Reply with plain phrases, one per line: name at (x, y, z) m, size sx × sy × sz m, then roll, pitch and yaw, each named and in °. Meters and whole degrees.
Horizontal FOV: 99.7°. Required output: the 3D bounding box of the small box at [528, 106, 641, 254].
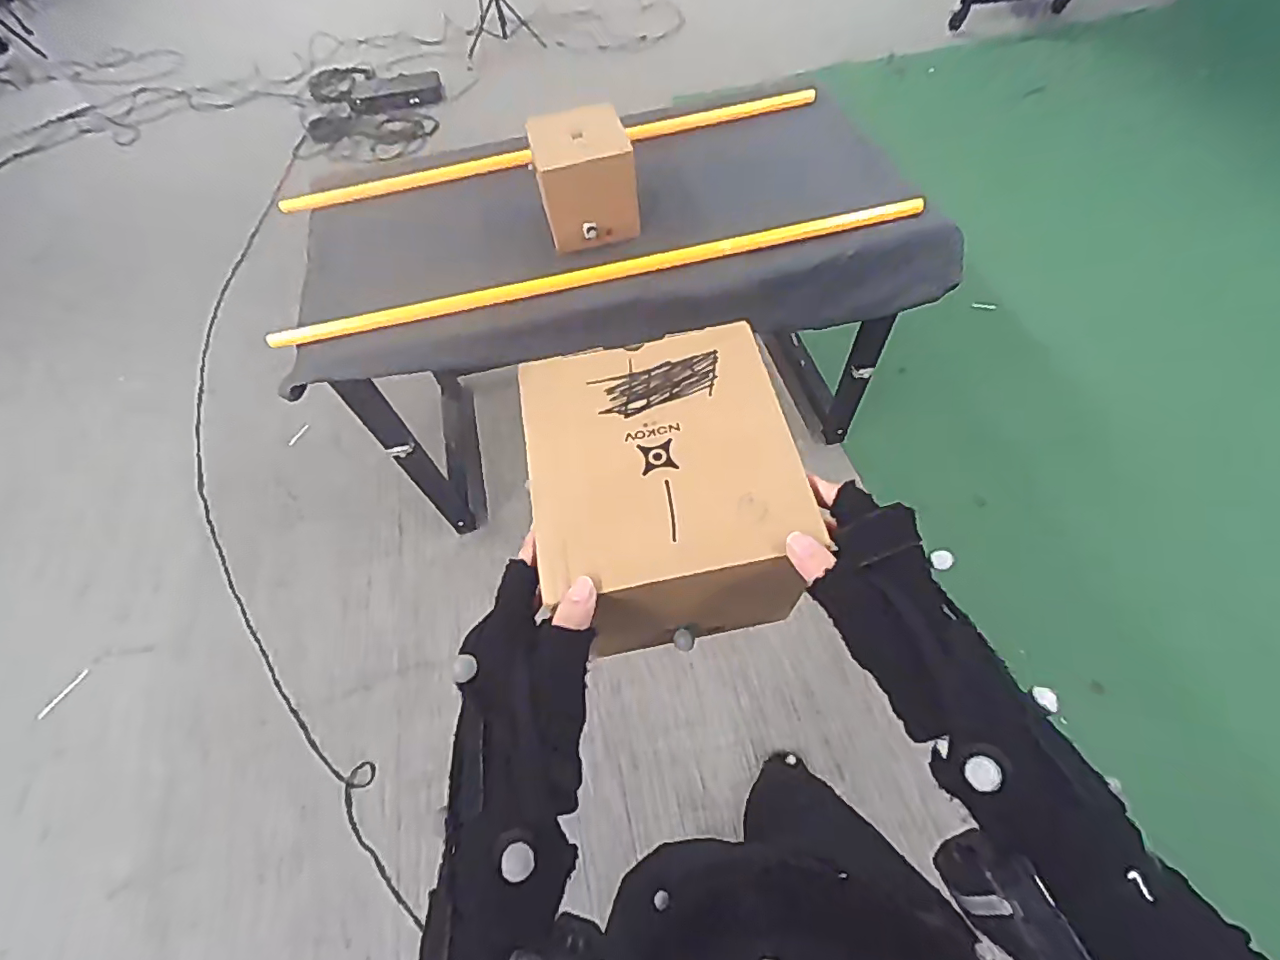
small box at (-0.101, -0.563, 1.024) m, size 0.168 × 0.176 × 0.179 m, roll -16°, pitch 61°, yaw -3°

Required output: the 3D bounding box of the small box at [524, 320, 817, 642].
small box at (0.015, 0.010, 0.419) m, size 0.168 × 0.176 × 0.179 m, roll -11°, pitch 62°, yaw 0°
